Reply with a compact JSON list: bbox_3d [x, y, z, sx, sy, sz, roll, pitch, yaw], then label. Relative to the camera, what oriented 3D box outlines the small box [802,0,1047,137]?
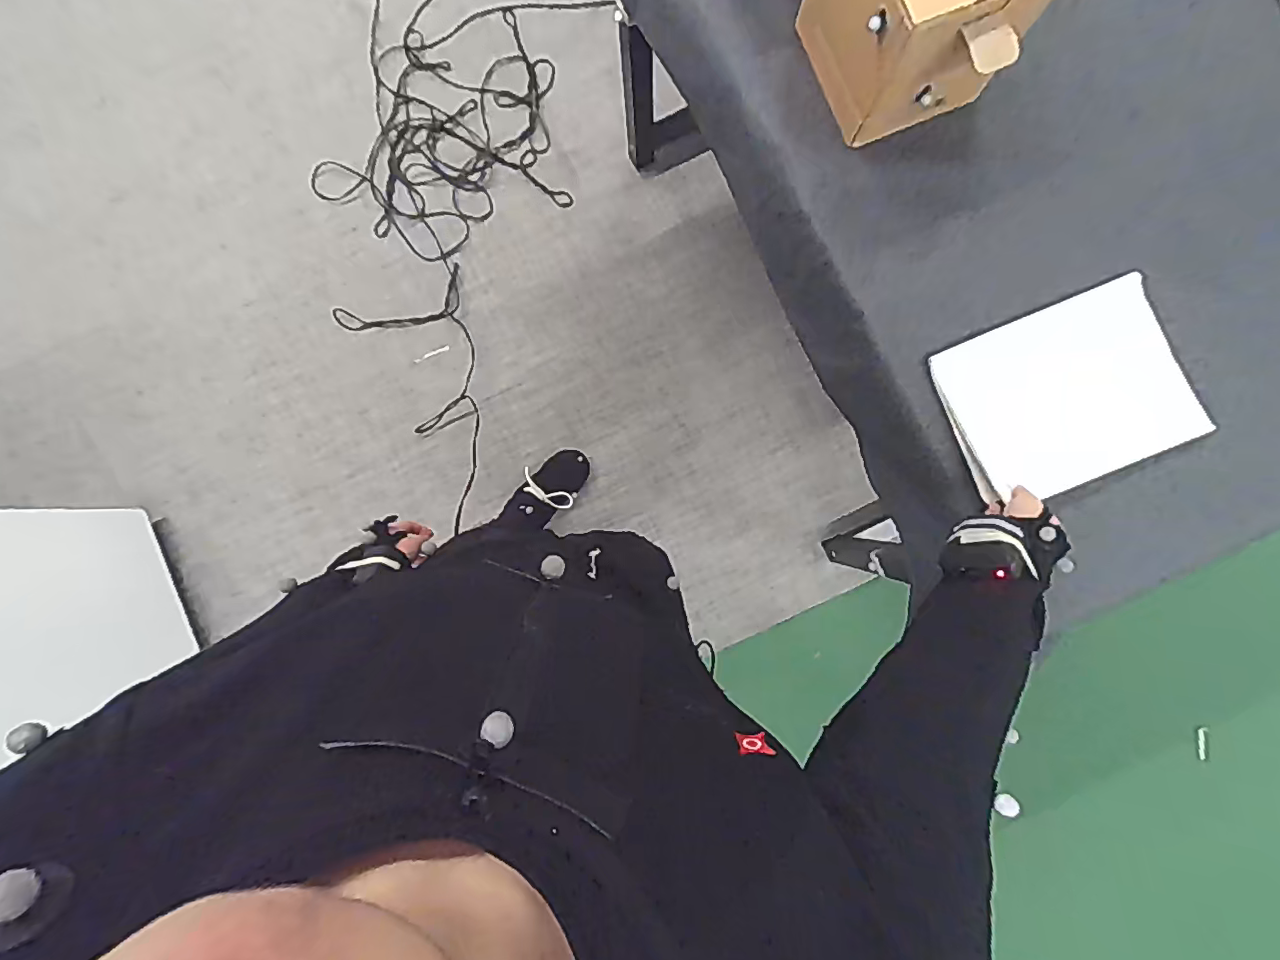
[{"bbox_3d":[0.294,-0.518,0.571,0.168,0.176,0.179,-22,87,0],"label":"small box"}]
